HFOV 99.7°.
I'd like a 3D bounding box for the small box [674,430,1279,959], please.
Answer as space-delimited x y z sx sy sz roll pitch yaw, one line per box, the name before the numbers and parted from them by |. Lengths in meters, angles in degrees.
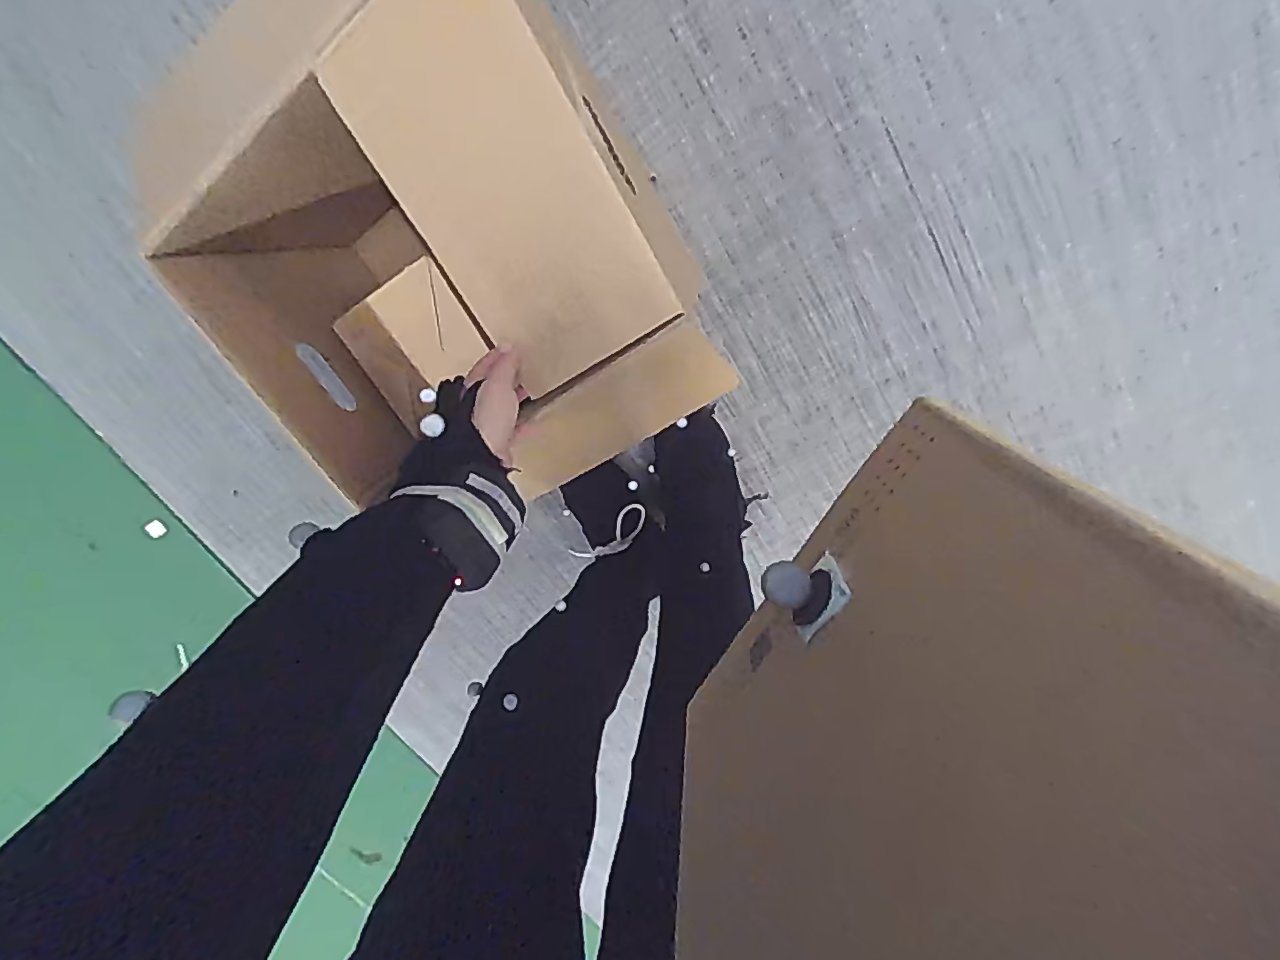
small box | 0.124 0.104 0.155 0.179 0.176 0.168 27 110 -3
